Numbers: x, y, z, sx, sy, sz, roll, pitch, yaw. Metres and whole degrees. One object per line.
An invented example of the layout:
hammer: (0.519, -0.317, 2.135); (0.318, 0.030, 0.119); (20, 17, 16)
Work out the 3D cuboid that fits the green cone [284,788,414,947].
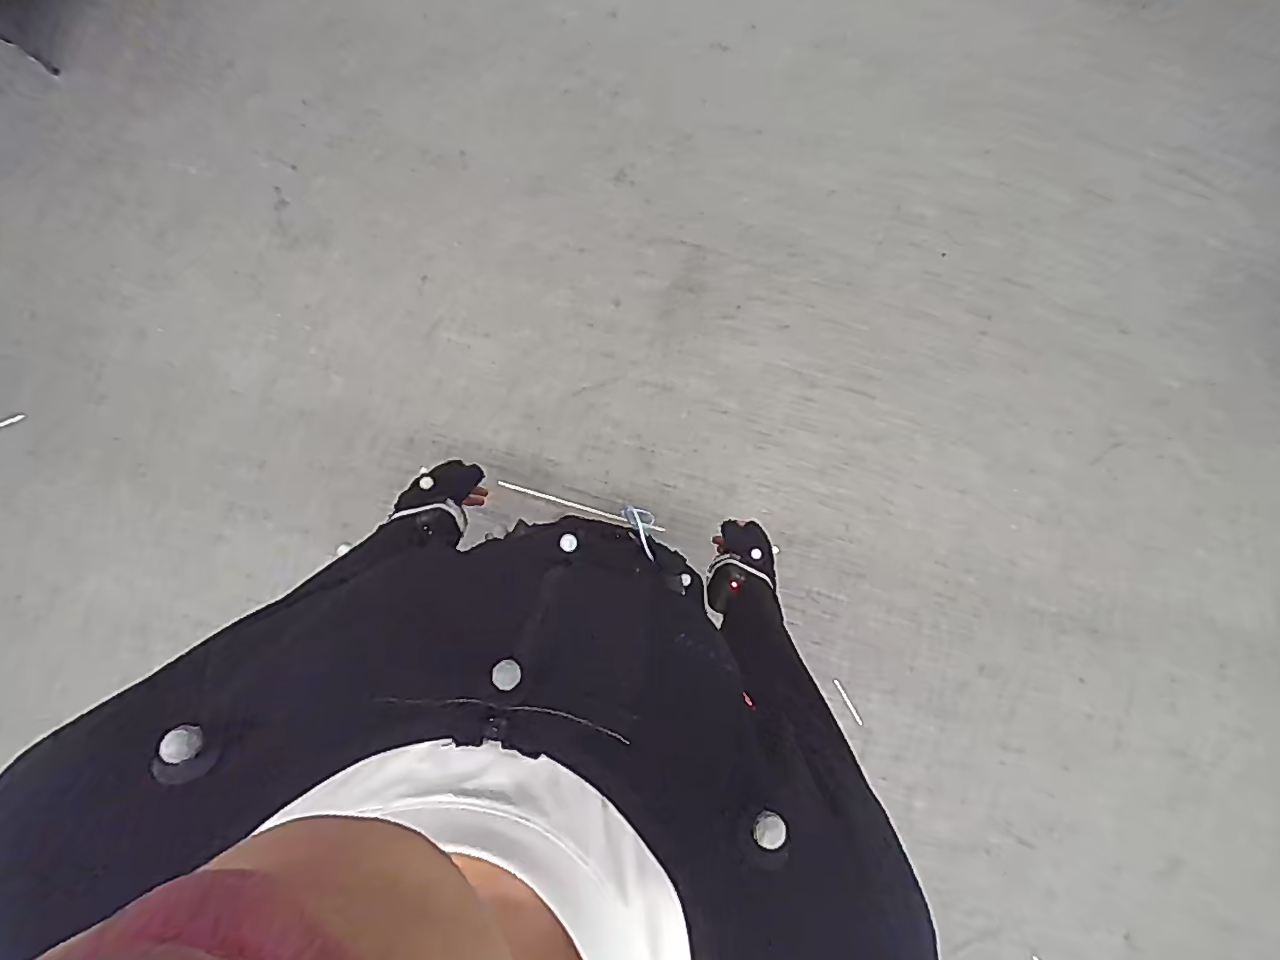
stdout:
green cone: (-0.703, 0.918, 1.249); (0.202, 0.368, 0.200); (15, 87, -2)
